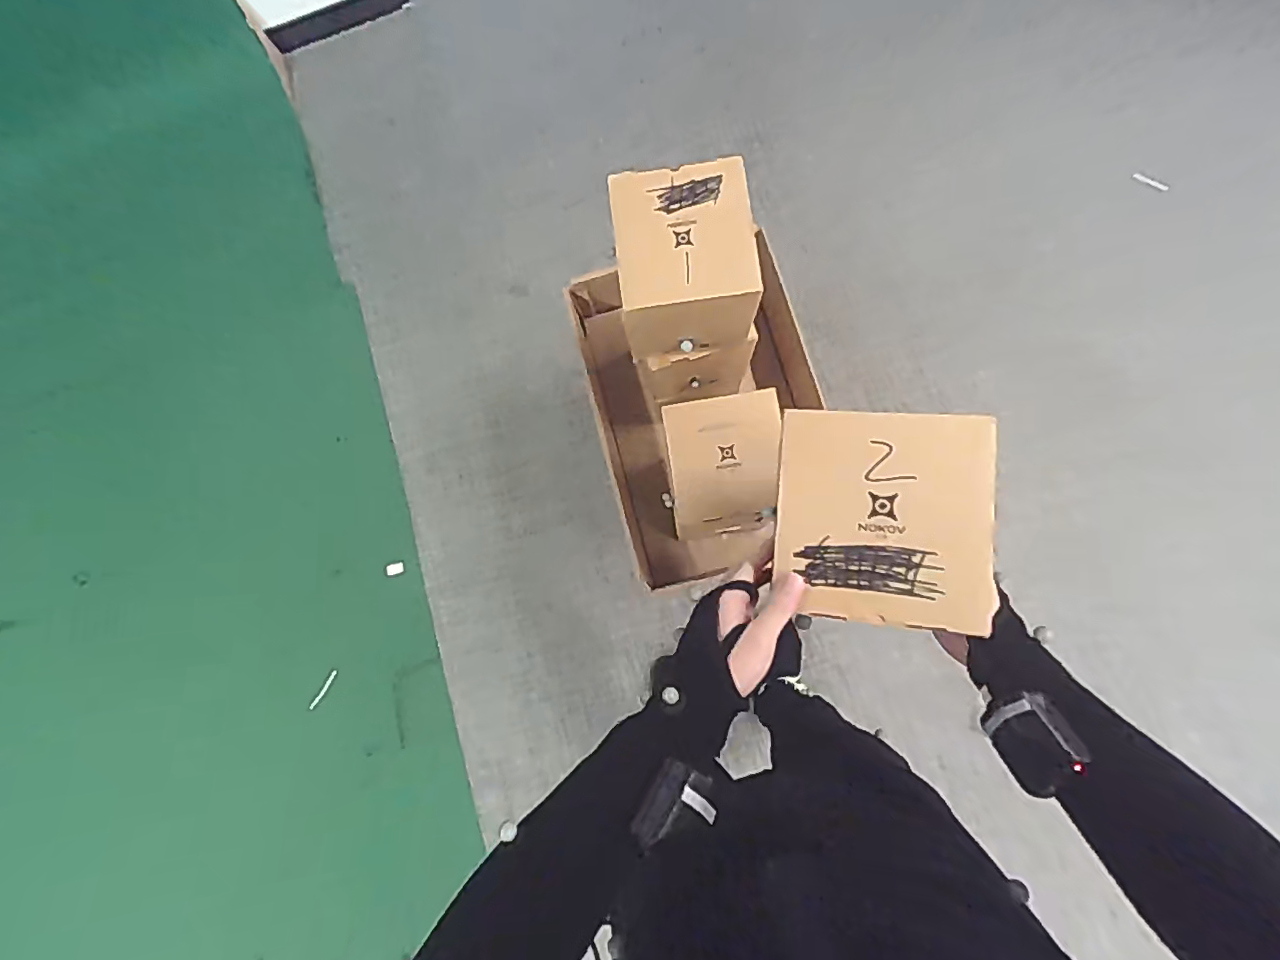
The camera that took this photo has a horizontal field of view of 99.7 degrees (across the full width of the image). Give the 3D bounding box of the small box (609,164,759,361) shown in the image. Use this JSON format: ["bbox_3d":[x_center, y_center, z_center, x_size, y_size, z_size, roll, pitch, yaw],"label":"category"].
[{"bbox_3d":[0.053,-0.277,0.721,0.168,0.176,0.179,-7,82,3],"label":"small box"}]

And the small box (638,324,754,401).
[{"bbox_3d":[0.070,-0.251,0.882,0.168,0.176,0.179,-16,82,1],"label":"small box"}]

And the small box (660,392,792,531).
[{"bbox_3d":[0.125,-0.017,0.835,0.168,0.176,0.179,-8,79,2],"label":"small box"}]

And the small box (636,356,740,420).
[{"bbox_3d":[0.082,-0.230,1.043,0.168,0.176,0.179,-16,81,2],"label":"small box"}]
